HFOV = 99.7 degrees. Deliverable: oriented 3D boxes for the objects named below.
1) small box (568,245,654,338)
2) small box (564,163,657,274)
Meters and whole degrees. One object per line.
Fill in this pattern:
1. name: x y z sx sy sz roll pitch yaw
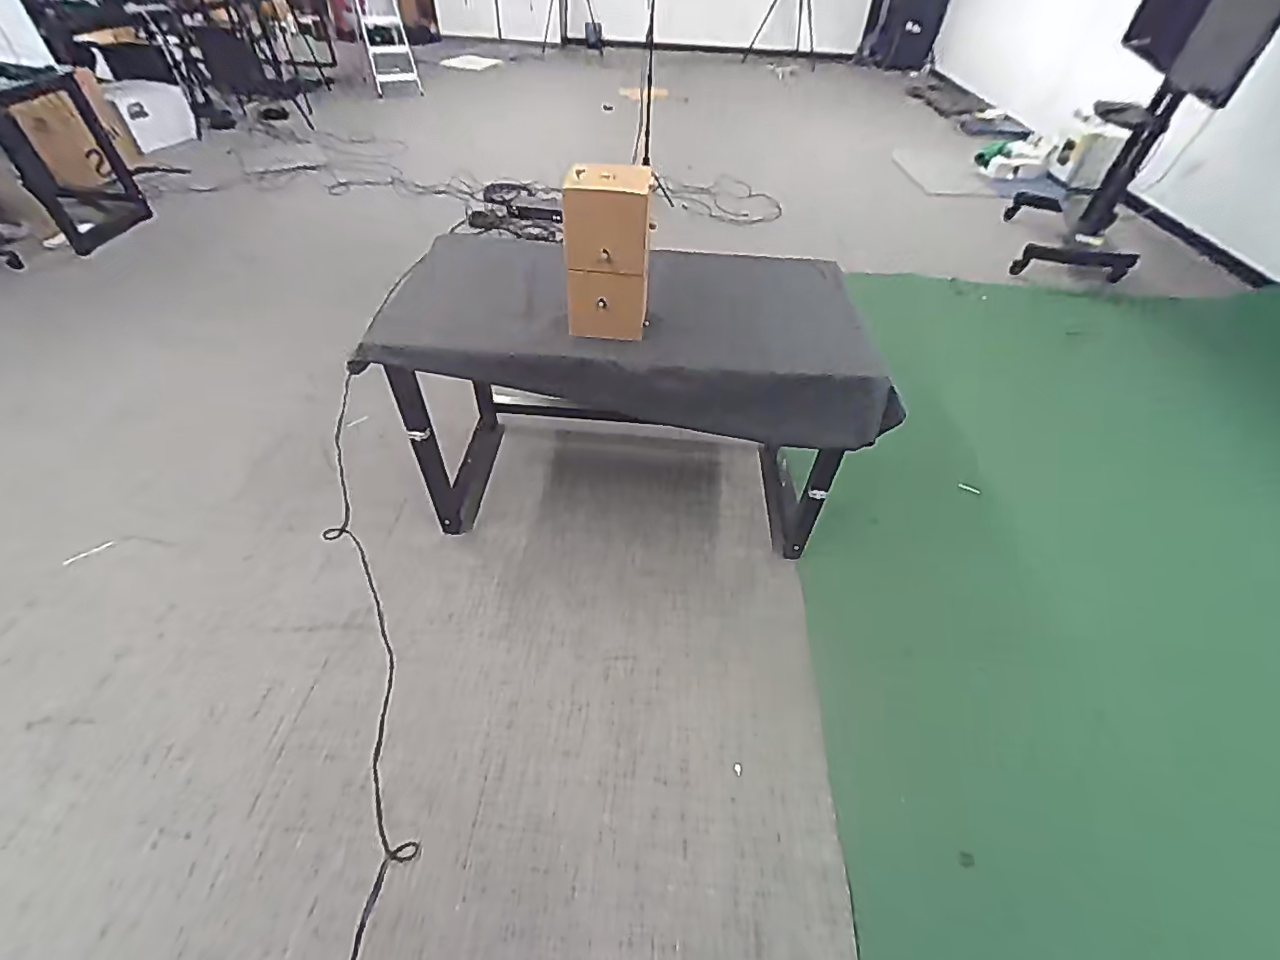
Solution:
1. small box: -0.067 -0.457 1.296 0.179 0.176 0.168 7 44 3
2. small box: -0.061 -0.566 1.178 0.179 0.176 0.168 6 46 2
